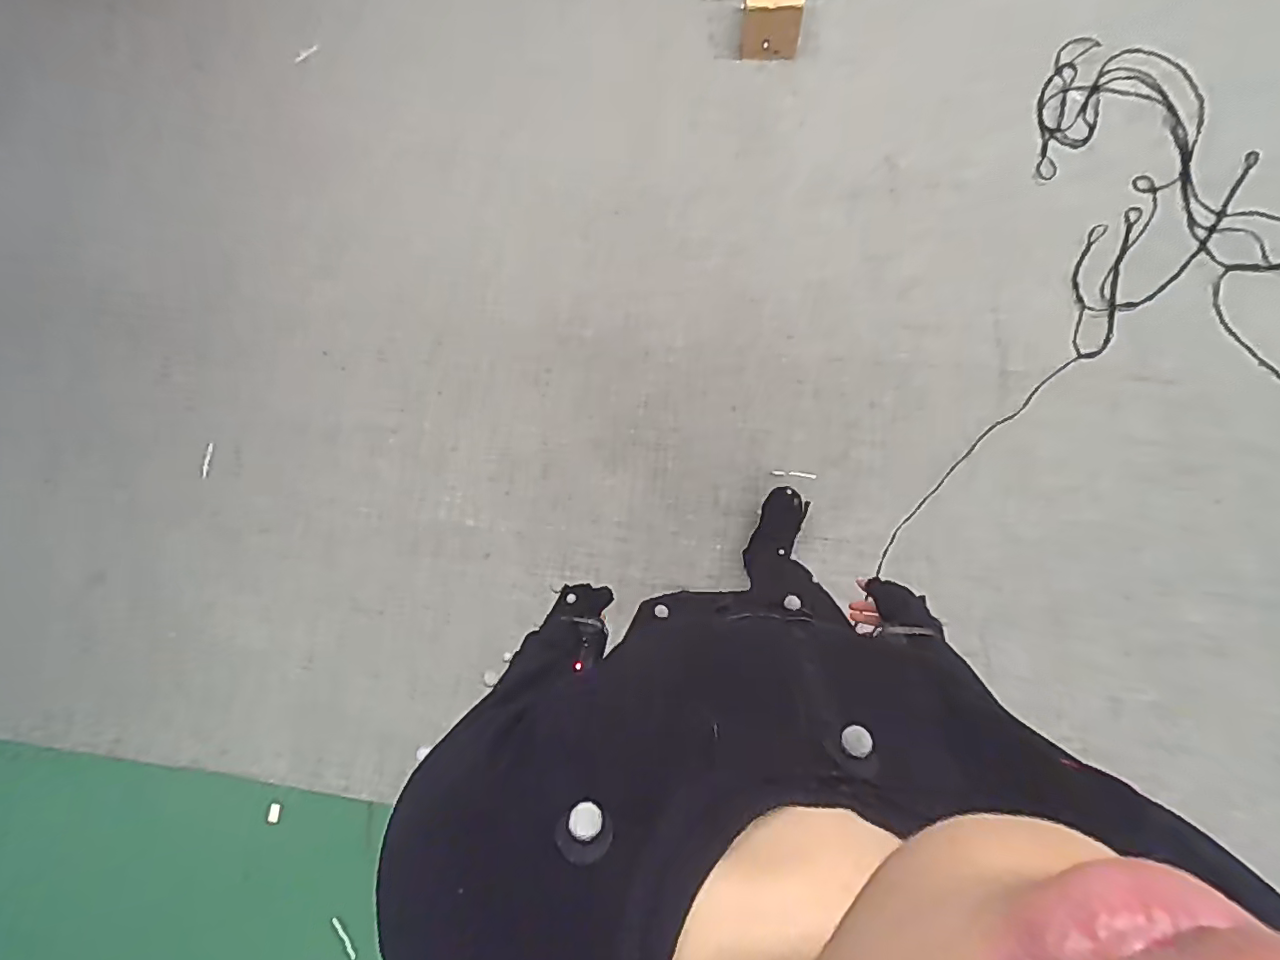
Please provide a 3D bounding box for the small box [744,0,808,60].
[{"bbox_3d":[0.400,-1.398,1.602,0.168,0.176,0.179,3,83,6],"label":"small box"}]
